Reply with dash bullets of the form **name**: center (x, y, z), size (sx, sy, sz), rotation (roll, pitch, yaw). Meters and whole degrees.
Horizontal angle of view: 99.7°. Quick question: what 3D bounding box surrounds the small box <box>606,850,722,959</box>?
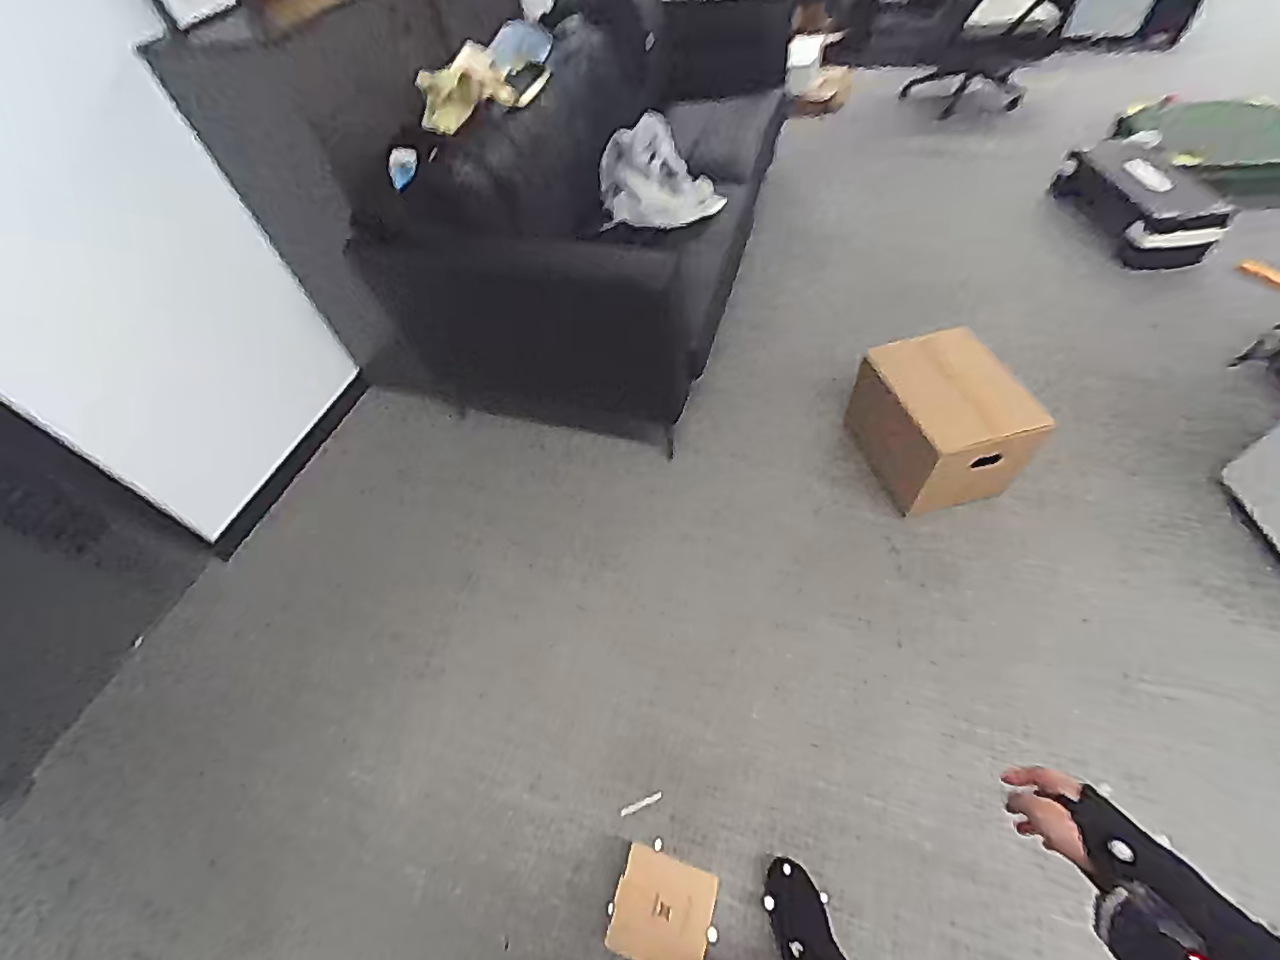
- **small box**: center (0.052, 0.842, 1.040), size (0.179, 0.176, 0.168), rotation (12, 57, 15)
